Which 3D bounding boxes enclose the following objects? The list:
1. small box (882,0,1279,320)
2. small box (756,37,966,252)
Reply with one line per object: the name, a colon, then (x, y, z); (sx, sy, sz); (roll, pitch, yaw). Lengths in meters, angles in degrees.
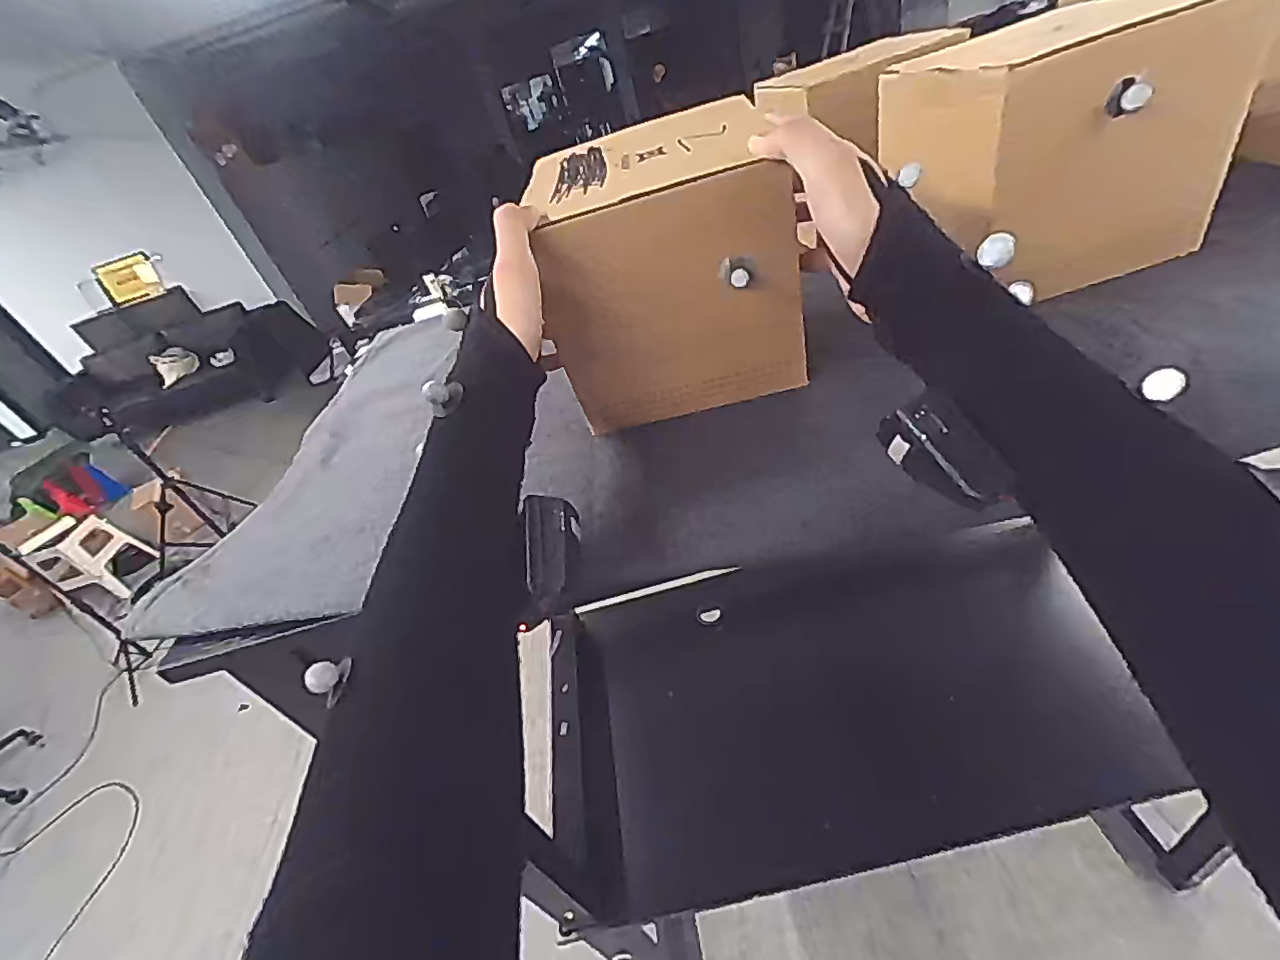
small box: (0.316, -0.256, 0.439); (0.179, 0.176, 0.168); (-17, 36, 3)
small box: (0.248, -0.391, 0.642); (0.168, 0.176, 0.179); (-17, 38, 4)
